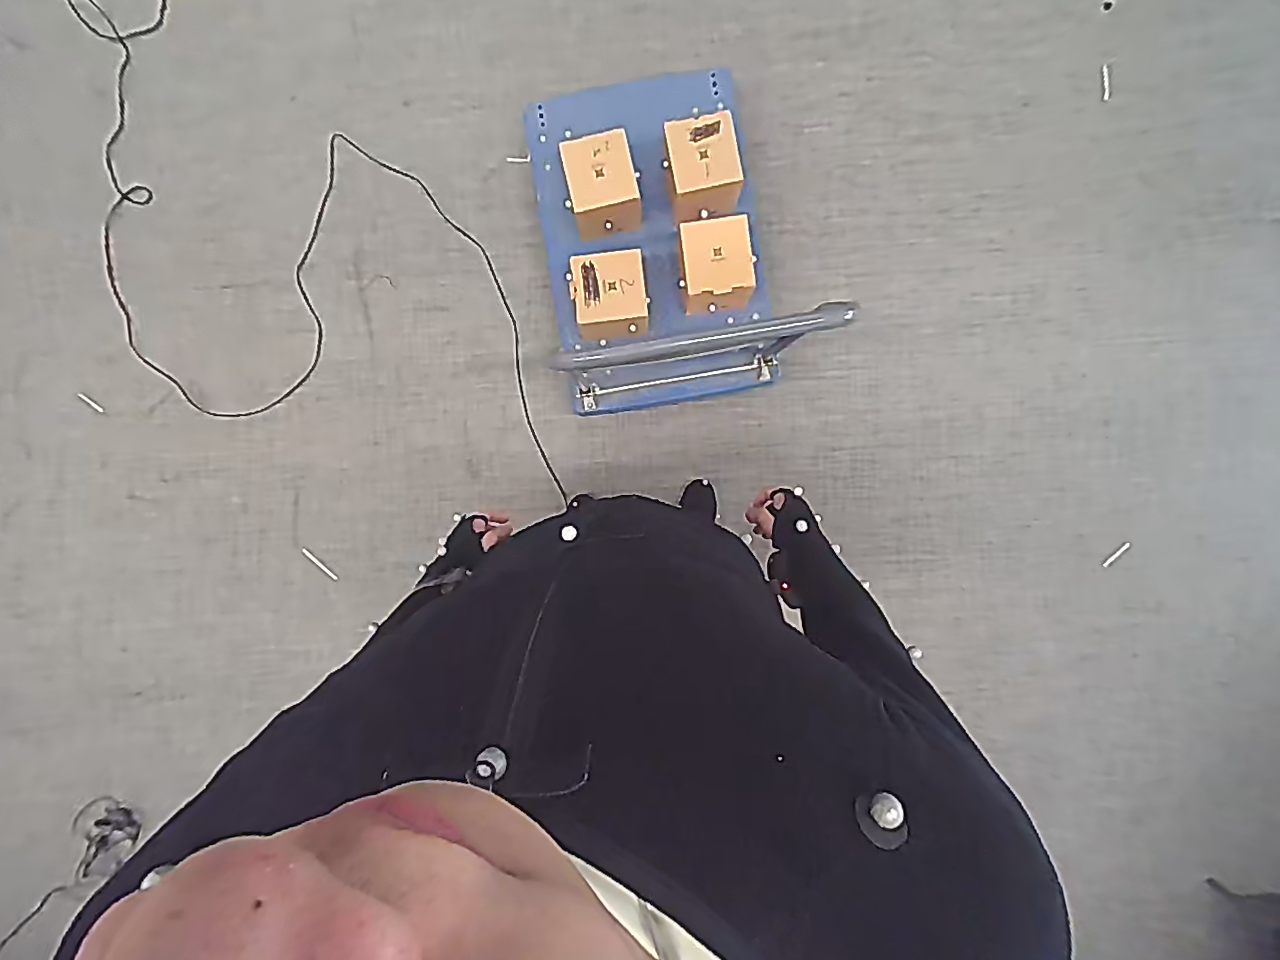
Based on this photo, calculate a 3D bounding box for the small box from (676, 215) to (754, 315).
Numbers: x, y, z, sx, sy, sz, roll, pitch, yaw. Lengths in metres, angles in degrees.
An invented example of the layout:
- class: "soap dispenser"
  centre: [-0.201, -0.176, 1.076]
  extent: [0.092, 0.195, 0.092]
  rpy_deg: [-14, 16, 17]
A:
- class: "small box"
  centre: [0.184, -0.541, 1.379]
  extent: [0.168, 0.176, 0.179]
  rpy_deg: [-8, 89, 1]

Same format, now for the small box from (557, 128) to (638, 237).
- class: "small box"
  centre: [-0.101, -0.745, 1.379]
  extent: [0.168, 0.176, 0.179]
  rpy_deg: [-13, 90, 0]

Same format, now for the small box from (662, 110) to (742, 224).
- class: "small box"
  centre: [0.151, -0.787, 1.375]
  extent: [0.168, 0.176, 0.179]
  rpy_deg: [-11, 91, 2]
